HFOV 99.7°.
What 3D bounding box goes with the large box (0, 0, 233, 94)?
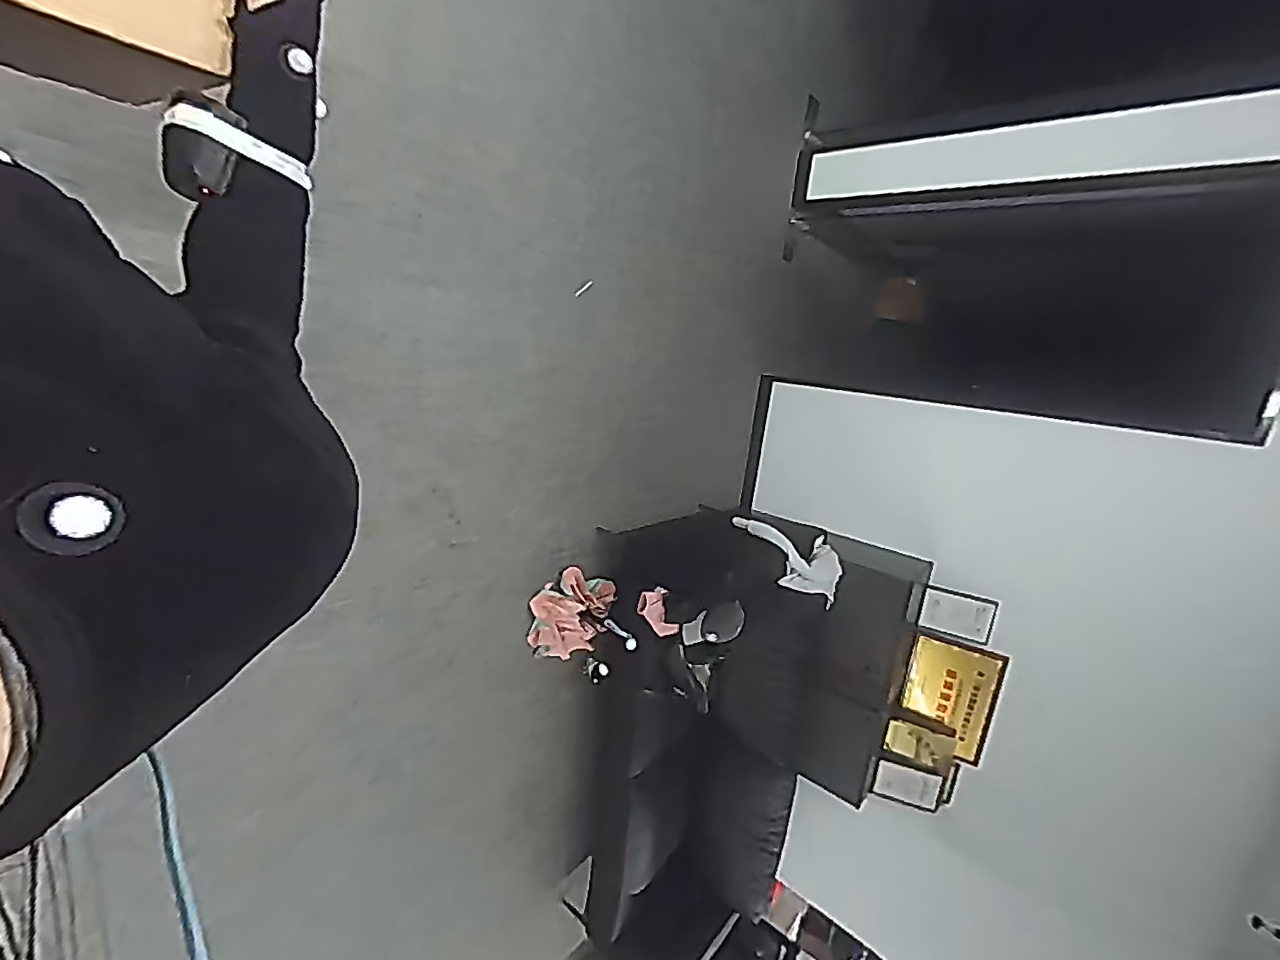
[{"bbox_3d":[-0.520,-0.467,0.298,0.408,0.320,0.320,-12,118,-49],"label":"large box"}]
